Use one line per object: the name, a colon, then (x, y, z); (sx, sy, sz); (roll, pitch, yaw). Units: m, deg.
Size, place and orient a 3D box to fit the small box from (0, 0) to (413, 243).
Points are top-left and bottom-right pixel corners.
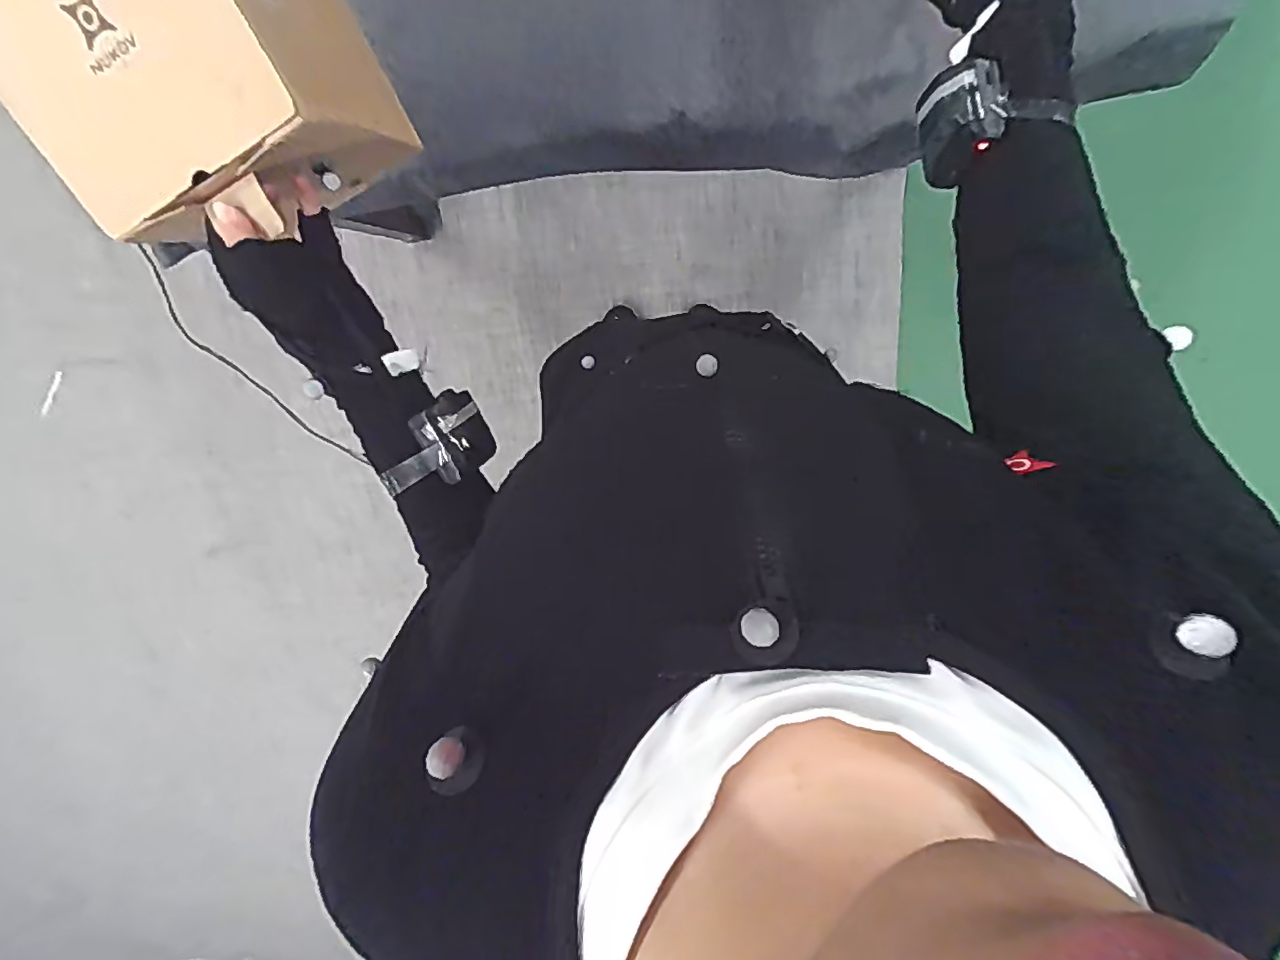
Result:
small box: (-0.295, -0.287, 0.370); (0.168, 0.176, 0.179); (-22, 111, 14)
